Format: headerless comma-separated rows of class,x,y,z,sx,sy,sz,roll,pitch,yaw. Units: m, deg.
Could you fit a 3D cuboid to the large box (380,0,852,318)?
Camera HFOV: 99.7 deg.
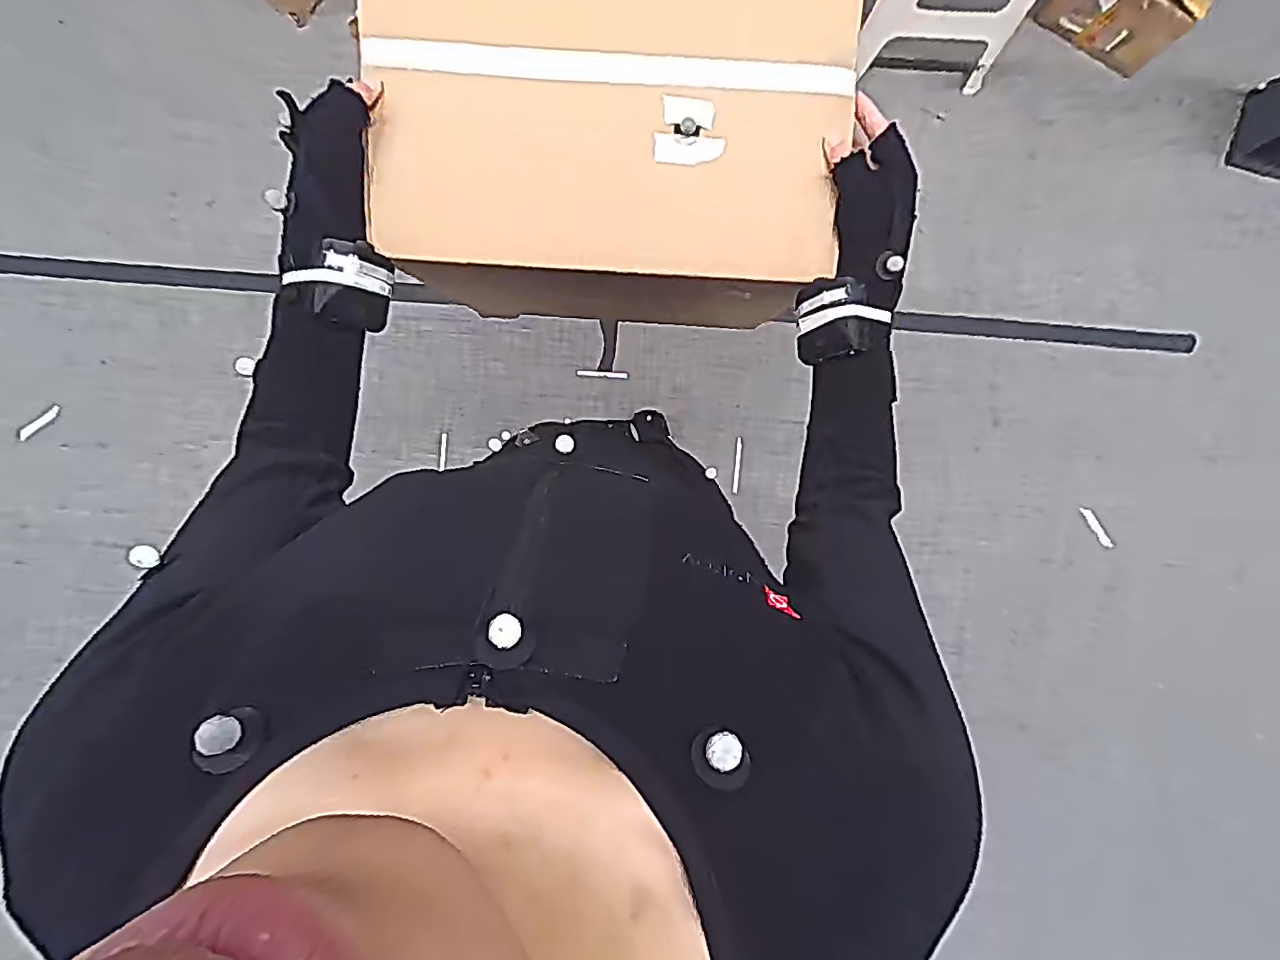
large box,-0.026,-0.367,0.609,0.408,0.320,0.320,2,100,-2
